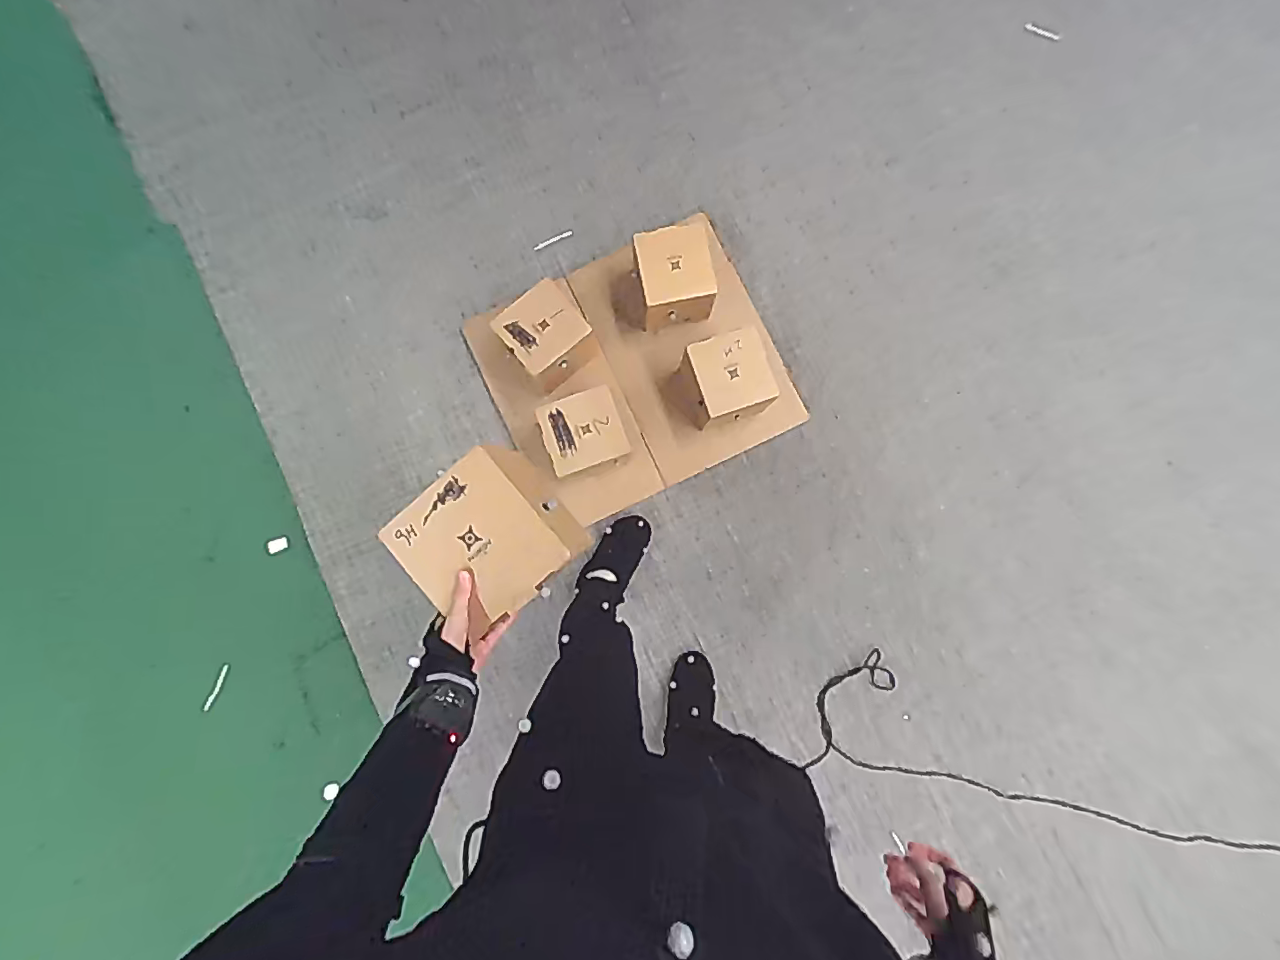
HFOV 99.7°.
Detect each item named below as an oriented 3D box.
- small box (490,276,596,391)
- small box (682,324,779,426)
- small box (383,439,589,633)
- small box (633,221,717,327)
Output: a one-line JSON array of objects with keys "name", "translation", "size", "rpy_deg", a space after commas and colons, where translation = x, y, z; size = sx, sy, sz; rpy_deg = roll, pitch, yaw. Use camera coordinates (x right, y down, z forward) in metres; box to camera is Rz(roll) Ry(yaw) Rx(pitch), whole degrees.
[{"name": "small box", "translation": [-0.220, -0.339, 1.289], "size": [0.179, 0.176, 0.168], "rpy_deg": [-39, 86, -4]}, {"name": "small box", "translation": [0.205, -0.235, 1.272], "size": [0.168, 0.176, 0.179], "rpy_deg": [-18, 85, -2]}, {"name": "small box", "translation": [-0.187, 0.066, 0.716], "size": [0.168, 0.176, 0.179], "rpy_deg": [-40, 88, 1]}, {"name": "small box", "translation": [0.081, -0.481, 1.298], "size": [0.168, 0.176, 0.179], "rpy_deg": [-11, 84, -1]}]
